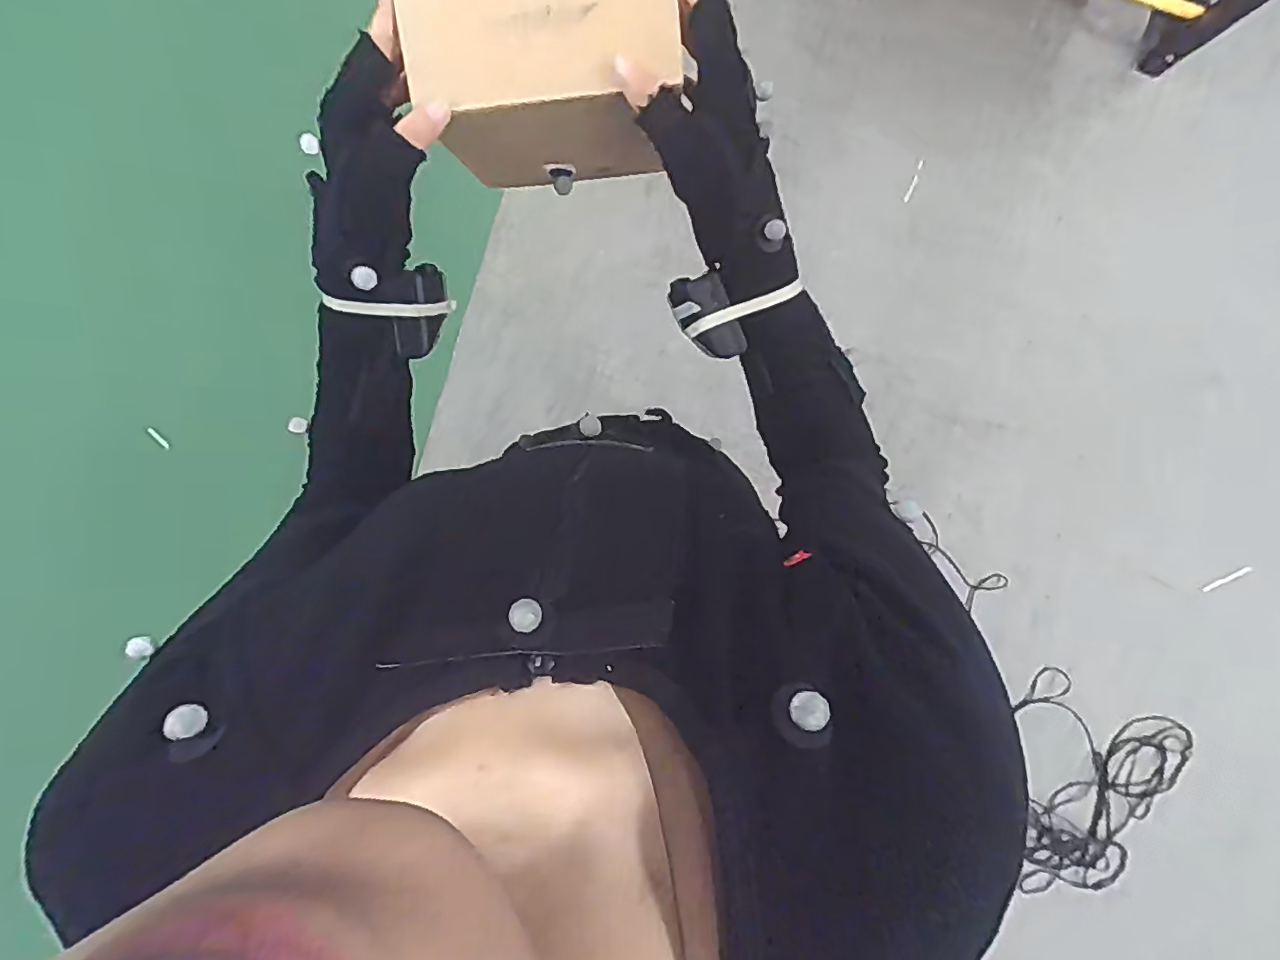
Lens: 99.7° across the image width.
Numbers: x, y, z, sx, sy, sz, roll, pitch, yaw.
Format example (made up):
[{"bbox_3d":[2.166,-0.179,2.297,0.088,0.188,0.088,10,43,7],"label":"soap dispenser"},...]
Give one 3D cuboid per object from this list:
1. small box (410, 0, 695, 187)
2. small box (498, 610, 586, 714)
[{"bbox_3d":[-0.054,-0.331,0.382,0.168,0.176,0.179,-5,104,2],"label":"small box"},{"bbox_3d":[-0.252,0.478,1.442,0.168,0.176,0.179,25,94,-2],"label":"small box"}]
